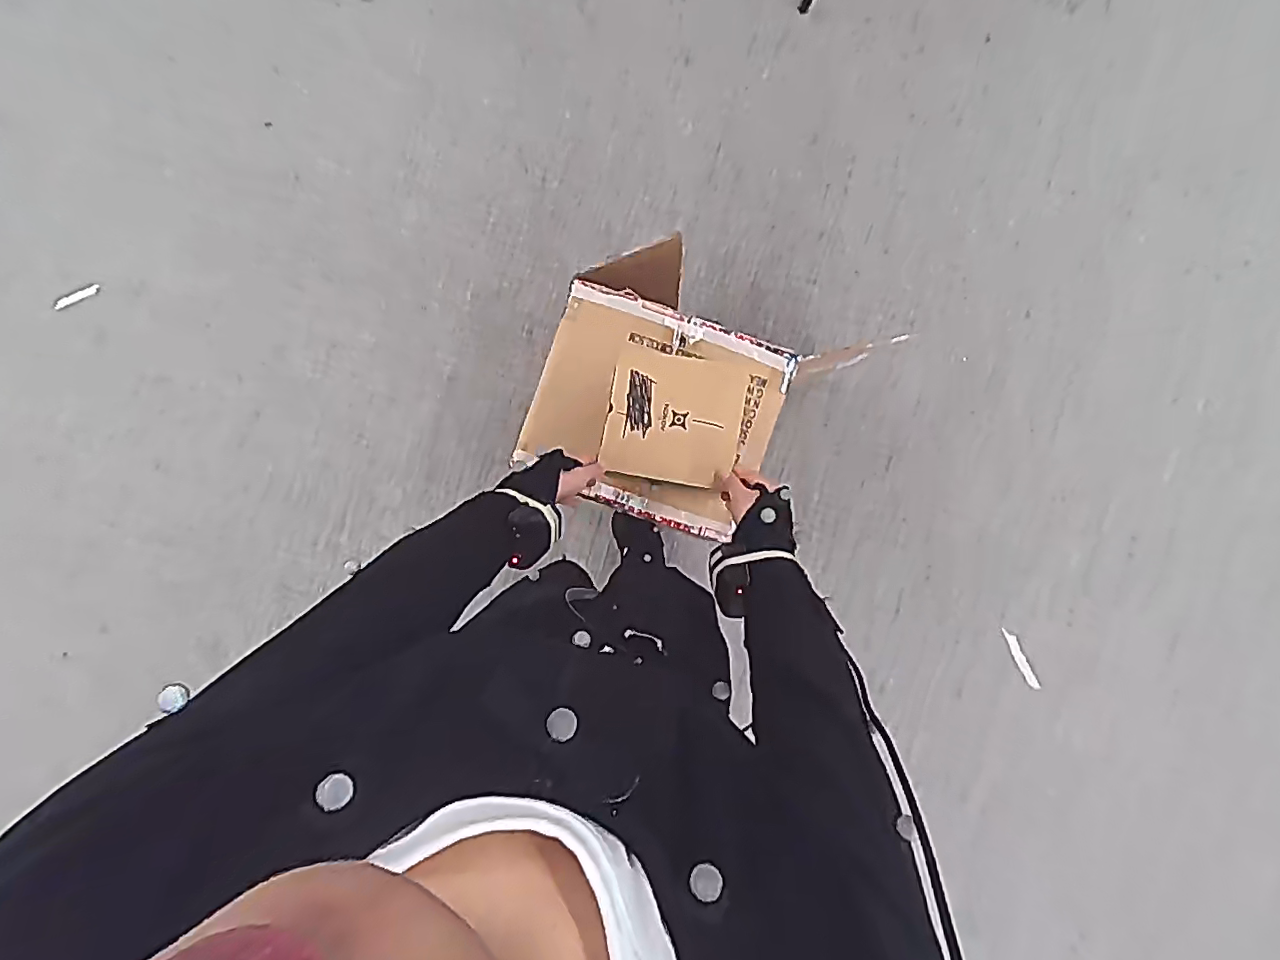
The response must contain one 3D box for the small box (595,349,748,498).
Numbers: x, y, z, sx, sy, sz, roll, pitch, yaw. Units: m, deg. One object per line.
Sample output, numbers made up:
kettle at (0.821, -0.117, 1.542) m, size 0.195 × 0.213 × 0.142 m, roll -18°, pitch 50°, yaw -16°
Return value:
small box at (0.049, -0.070, 0.771) m, size 0.179 × 0.176 × 0.168 m, roll 9°, pitch 84°, yaw 7°
